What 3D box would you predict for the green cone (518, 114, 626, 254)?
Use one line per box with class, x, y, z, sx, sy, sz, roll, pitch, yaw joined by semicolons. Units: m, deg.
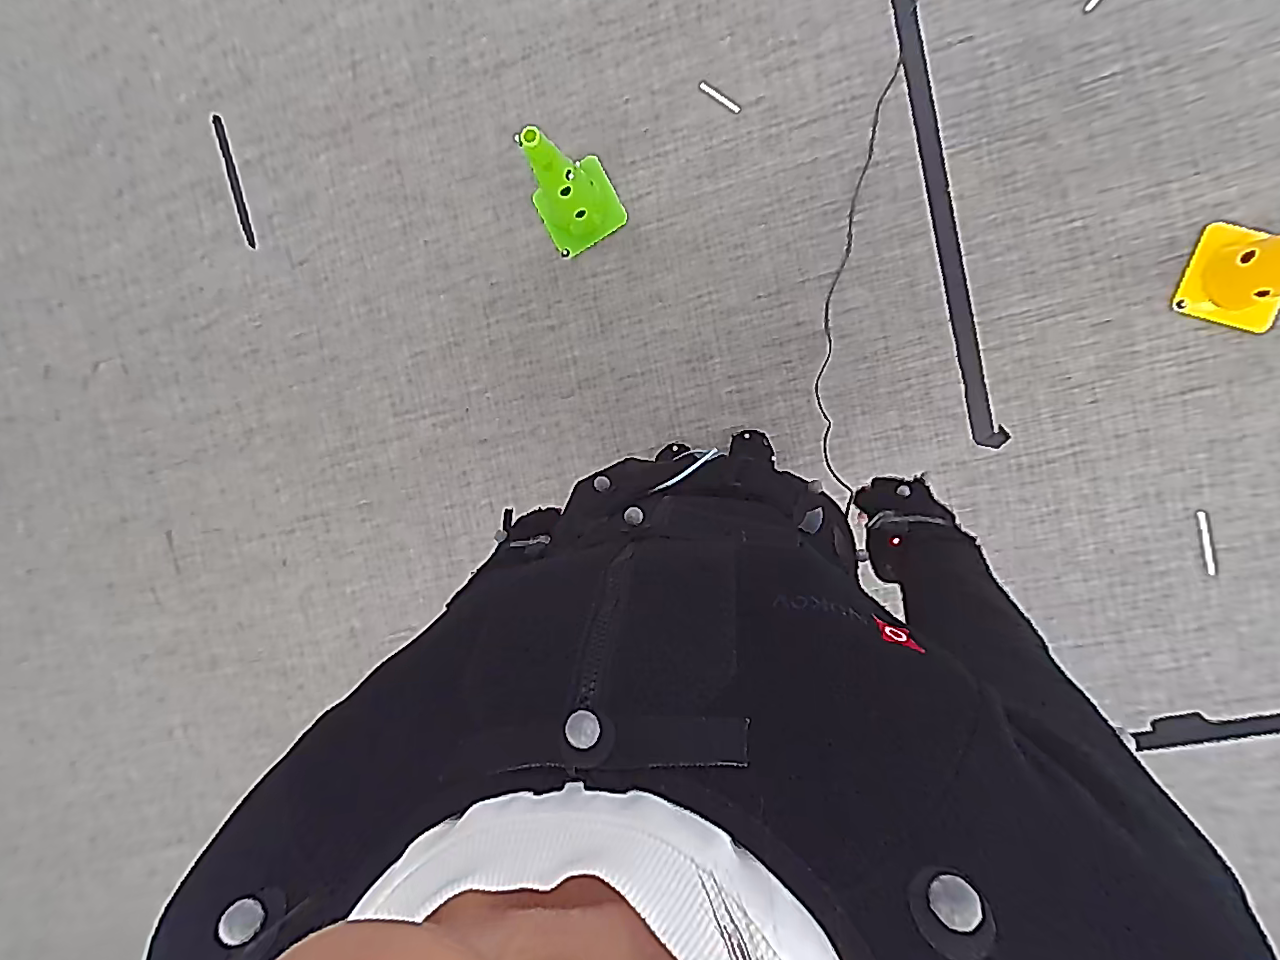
green cone;-0.185;-0.706;1.235;0.200;0.368;0.202;-29;88;10
